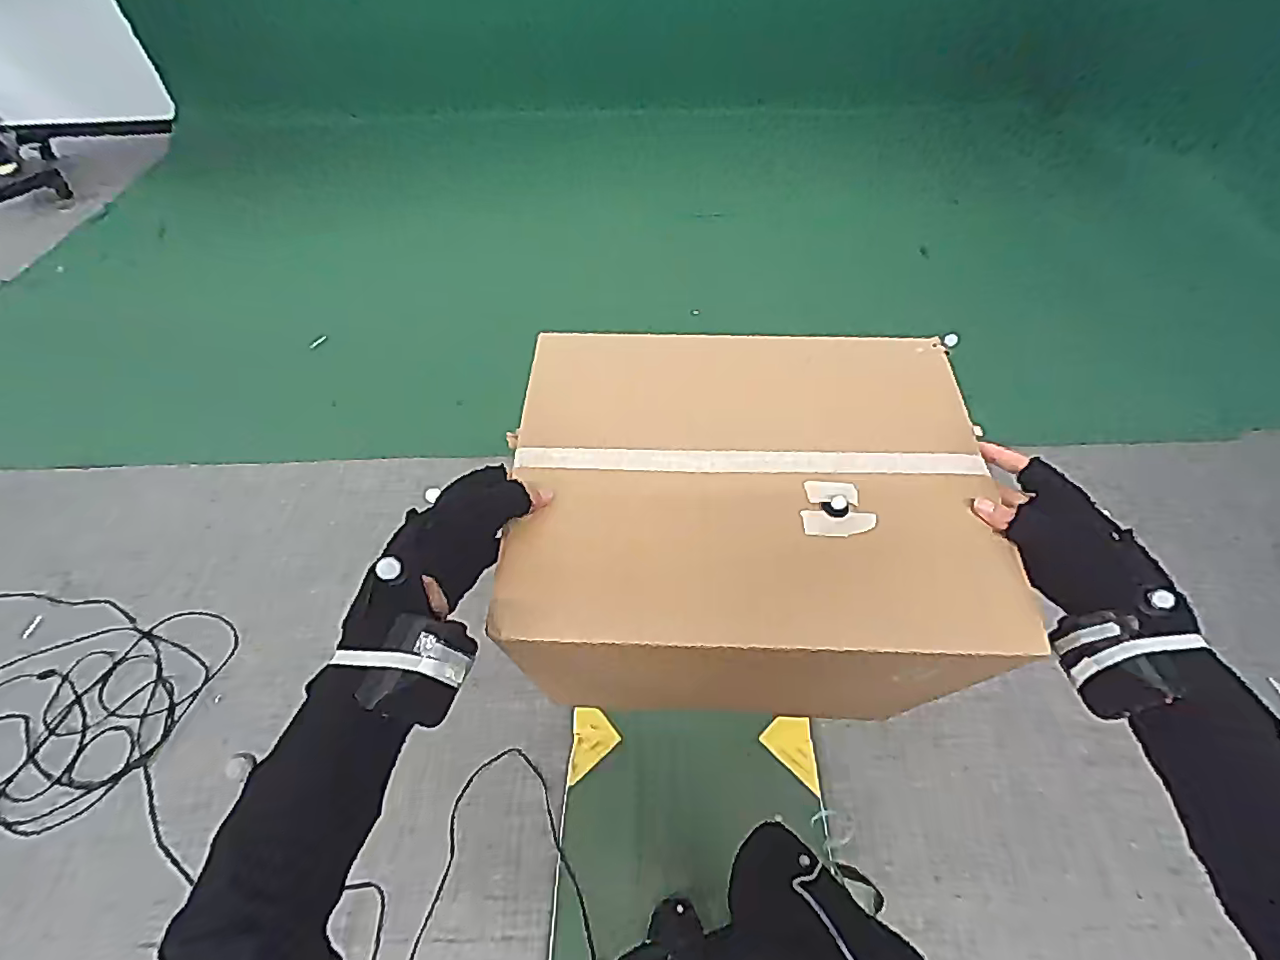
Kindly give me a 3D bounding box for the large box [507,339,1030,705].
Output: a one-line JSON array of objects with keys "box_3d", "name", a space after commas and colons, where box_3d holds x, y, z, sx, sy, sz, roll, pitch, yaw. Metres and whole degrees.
[{"box_3d": [0.097, 0.063, 0.608, 0.408, 0.320, 0.320, 1, 59, 1], "name": "large box"}]
